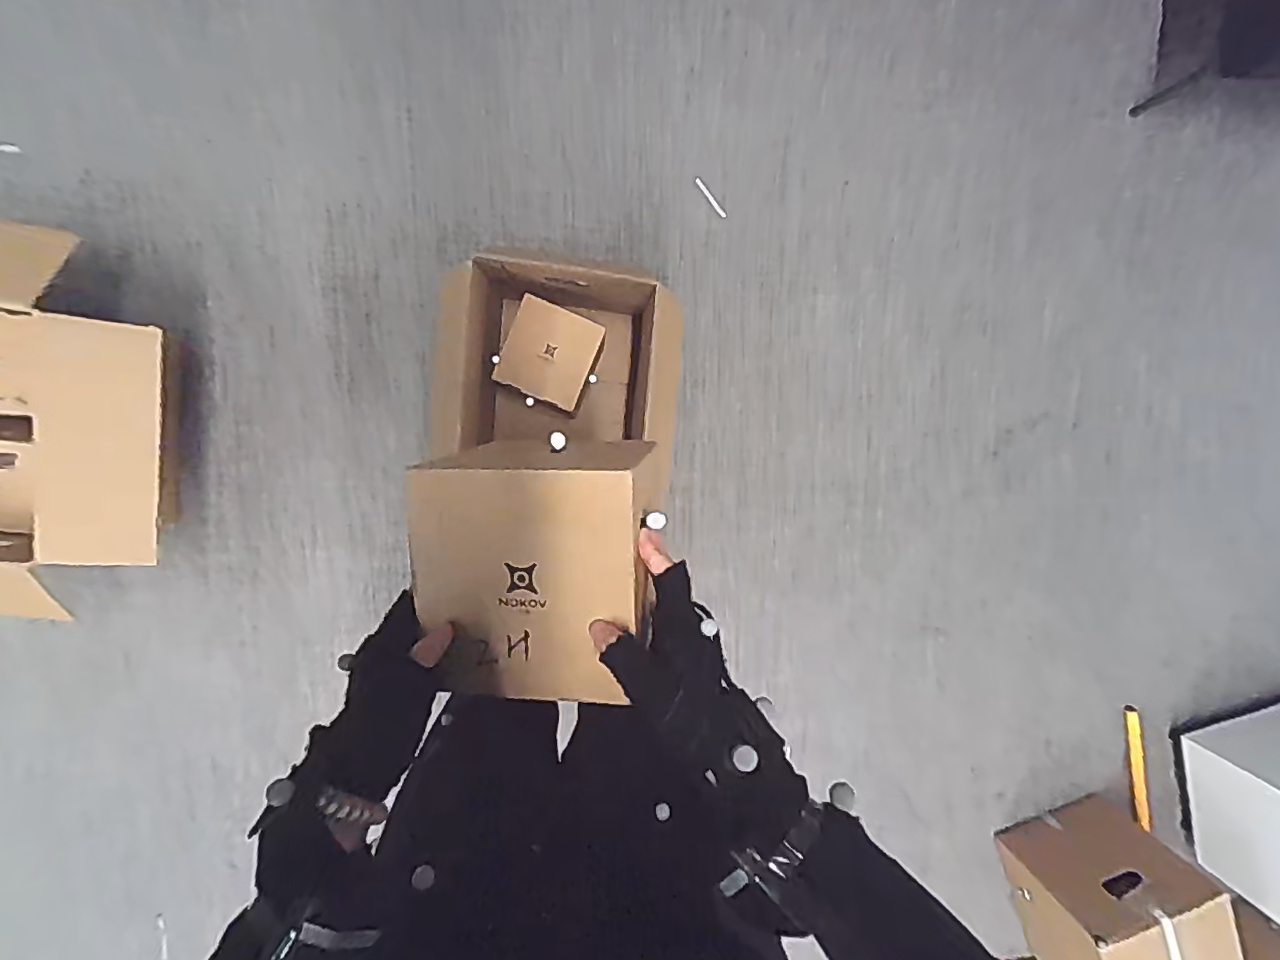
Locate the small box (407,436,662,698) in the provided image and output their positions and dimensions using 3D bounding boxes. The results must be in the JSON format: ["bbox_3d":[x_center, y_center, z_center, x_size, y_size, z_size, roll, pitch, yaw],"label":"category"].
[{"bbox_3d":[-0.072,0.056,0.462,0.168,0.176,0.179,1,102,8],"label":"small box"}]
